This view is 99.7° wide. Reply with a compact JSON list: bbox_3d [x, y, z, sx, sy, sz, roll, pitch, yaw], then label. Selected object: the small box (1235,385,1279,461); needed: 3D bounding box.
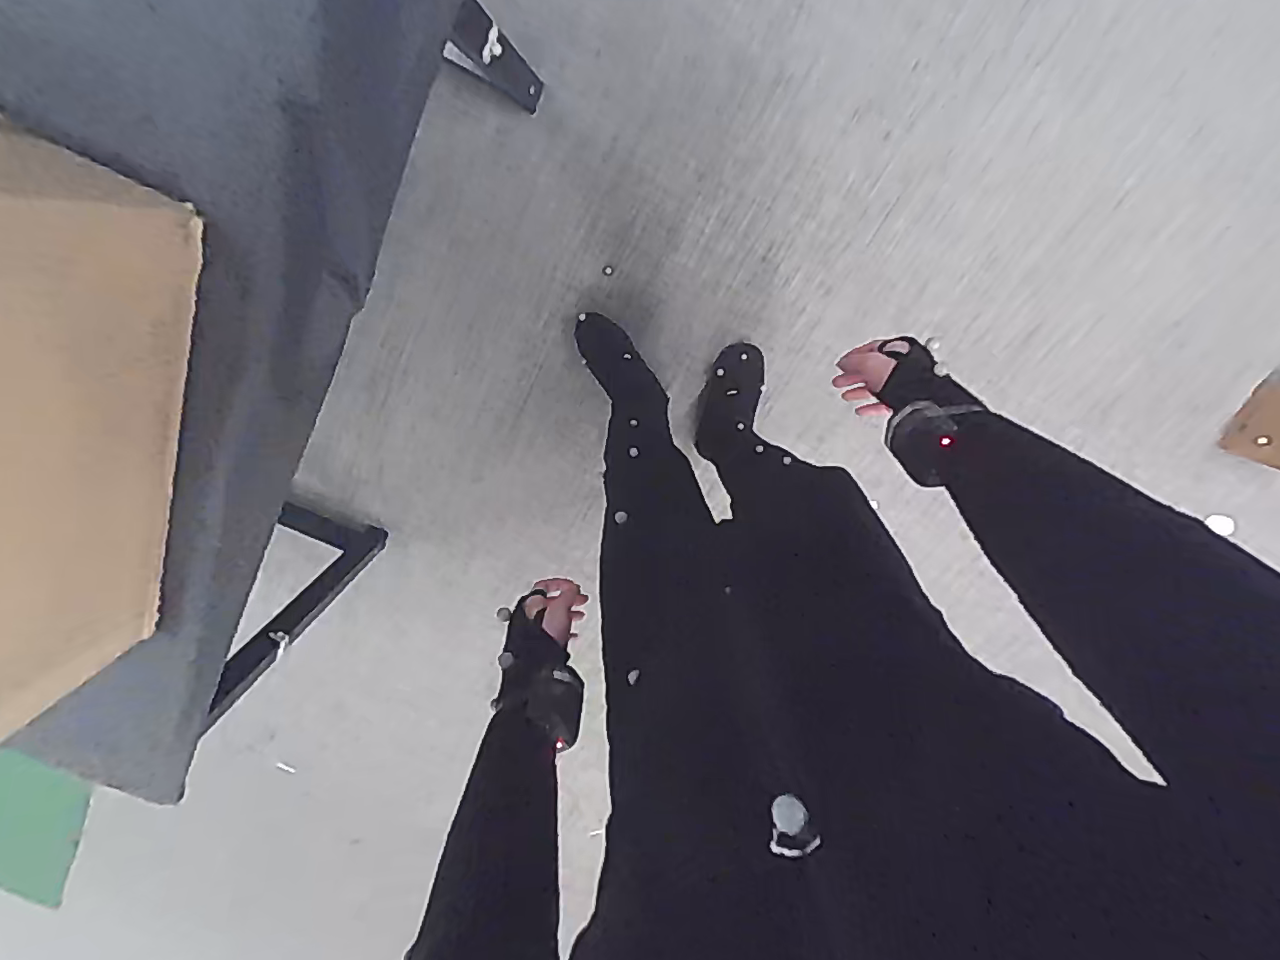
[{"bbox_3d":[1.440,-0.103,1.130,0.179,0.176,0.168,12,115,-3],"label":"small box"}]
